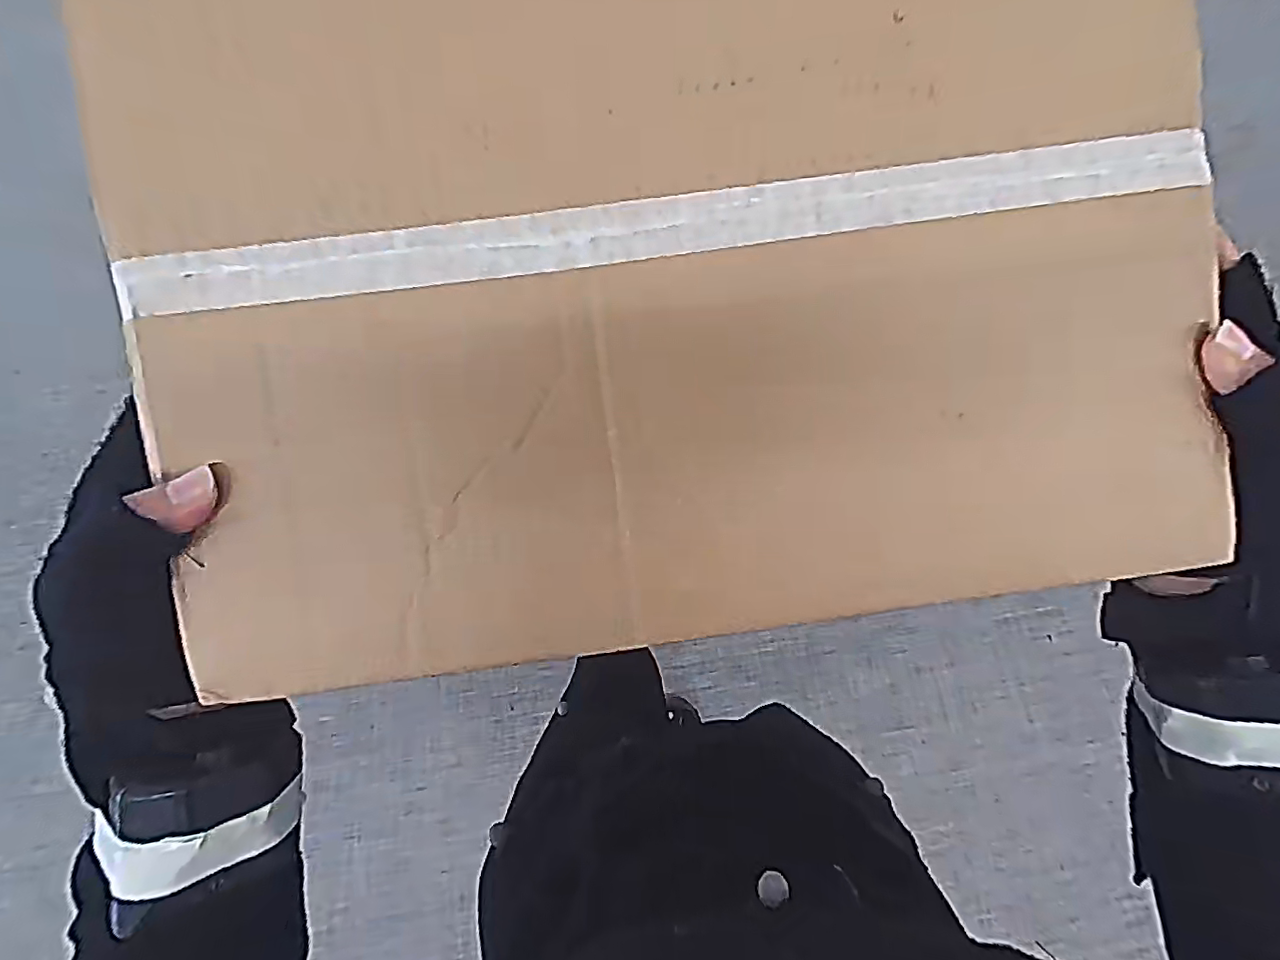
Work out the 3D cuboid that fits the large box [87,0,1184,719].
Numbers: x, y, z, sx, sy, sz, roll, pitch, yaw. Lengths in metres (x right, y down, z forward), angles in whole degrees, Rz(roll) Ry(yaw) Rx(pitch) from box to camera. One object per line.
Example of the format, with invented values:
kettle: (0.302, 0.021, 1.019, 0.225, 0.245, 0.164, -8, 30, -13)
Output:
large box: (0.008, -0.094, 0.359, 0.408, 0.320, 0.320, -8, 93, -1)
